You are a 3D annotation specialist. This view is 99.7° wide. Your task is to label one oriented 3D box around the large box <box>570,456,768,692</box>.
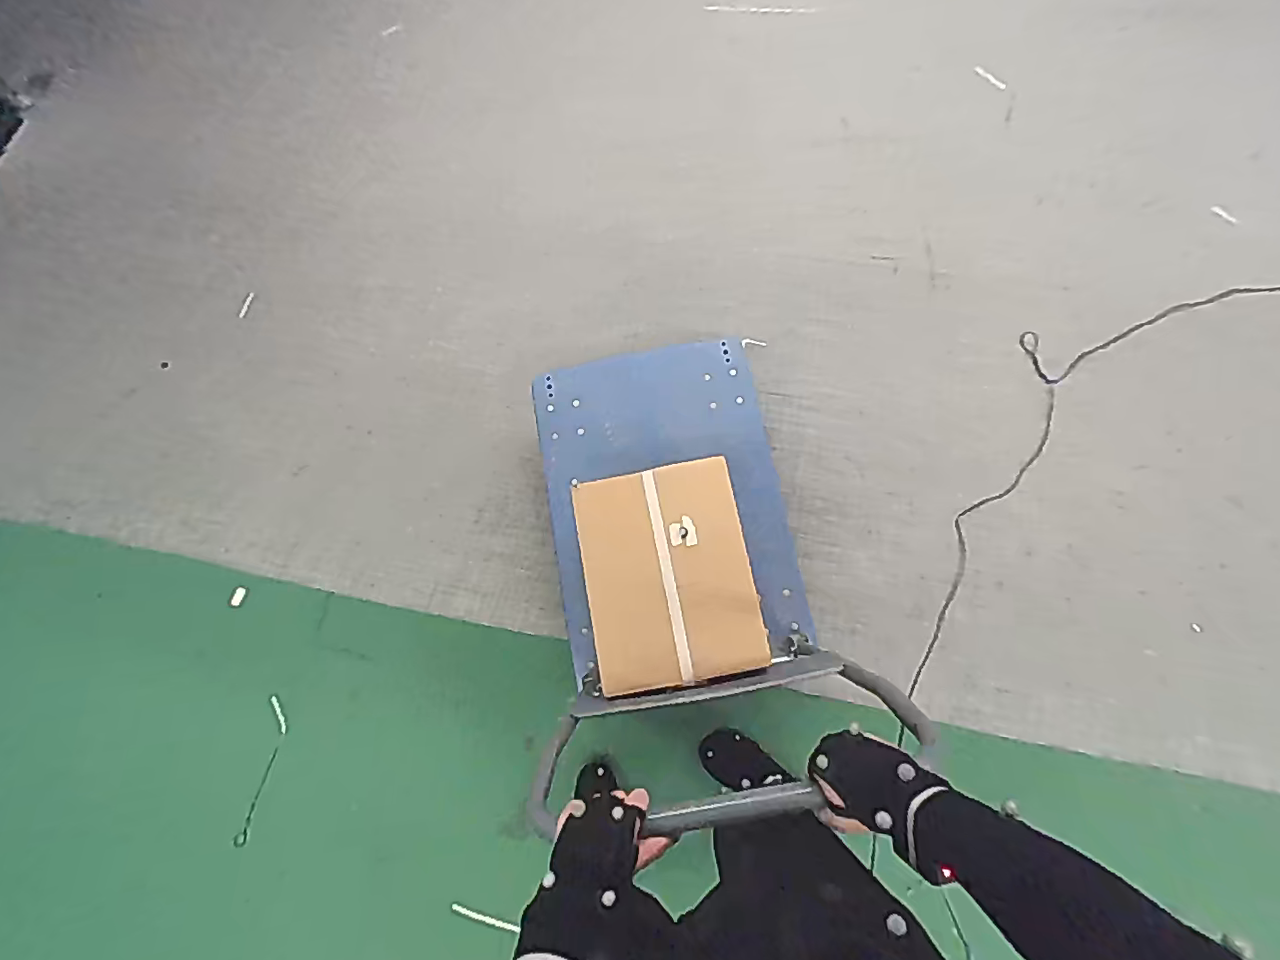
[{"bbox_3d":[0.058,0.206,1.176,0.320,0.320,0.408,-11,75,0],"label":"large box"}]
